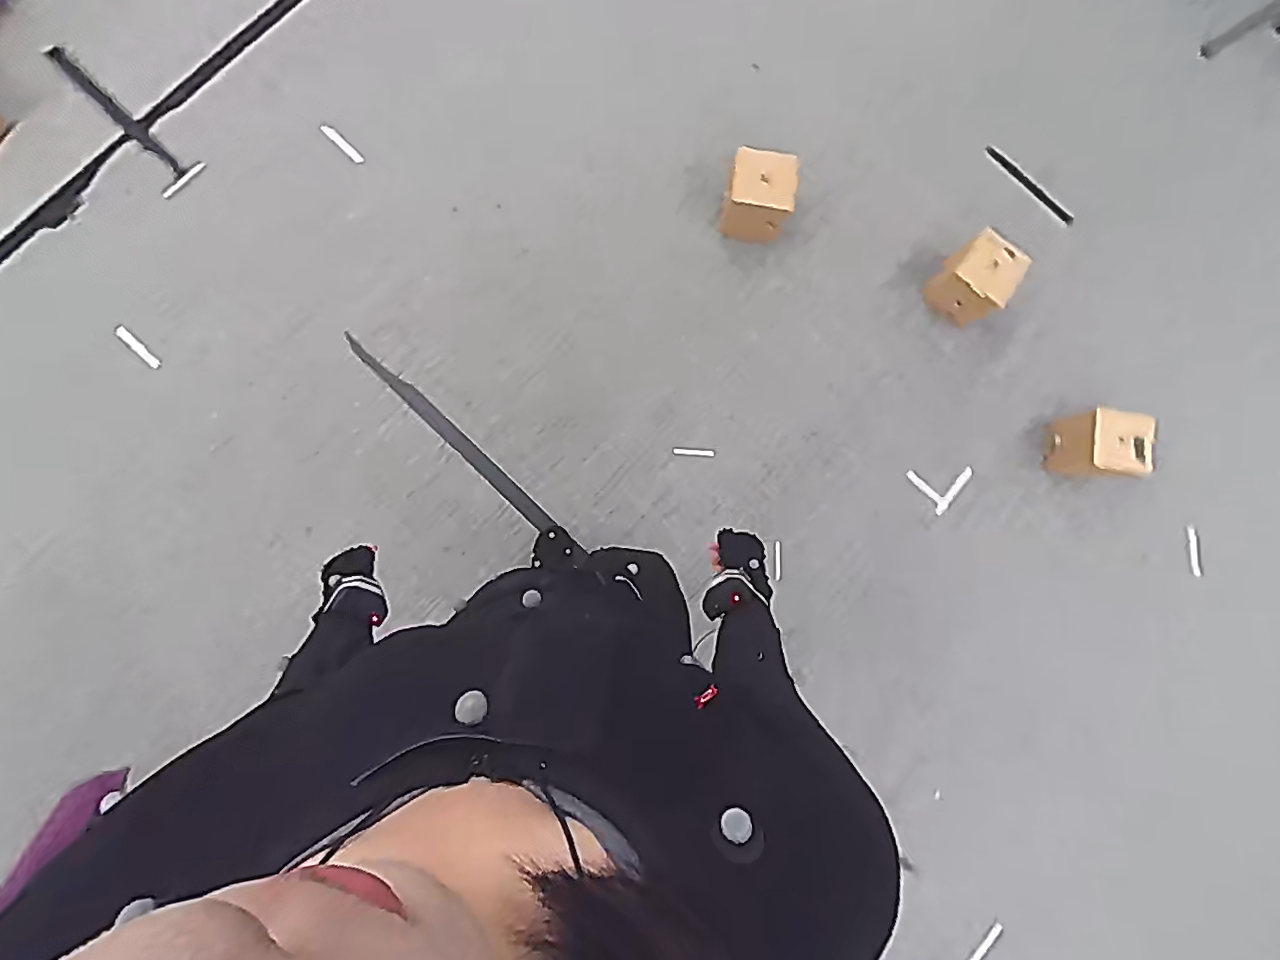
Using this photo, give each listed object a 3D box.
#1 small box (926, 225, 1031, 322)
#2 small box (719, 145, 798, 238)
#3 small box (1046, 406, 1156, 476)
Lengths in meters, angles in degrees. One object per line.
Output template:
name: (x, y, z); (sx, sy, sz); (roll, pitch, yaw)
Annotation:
small box: (0.985, -0.599, 1.595); (0.168, 0.176, 0.179); (36, 84, -1)
small box: (0.338, -0.826, 1.566); (0.179, 0.176, 0.168); (6, 83, -3)
small box: (1.342, -0.109, 1.582); (0.179, 0.176, 0.168); (9, 85, -2)
